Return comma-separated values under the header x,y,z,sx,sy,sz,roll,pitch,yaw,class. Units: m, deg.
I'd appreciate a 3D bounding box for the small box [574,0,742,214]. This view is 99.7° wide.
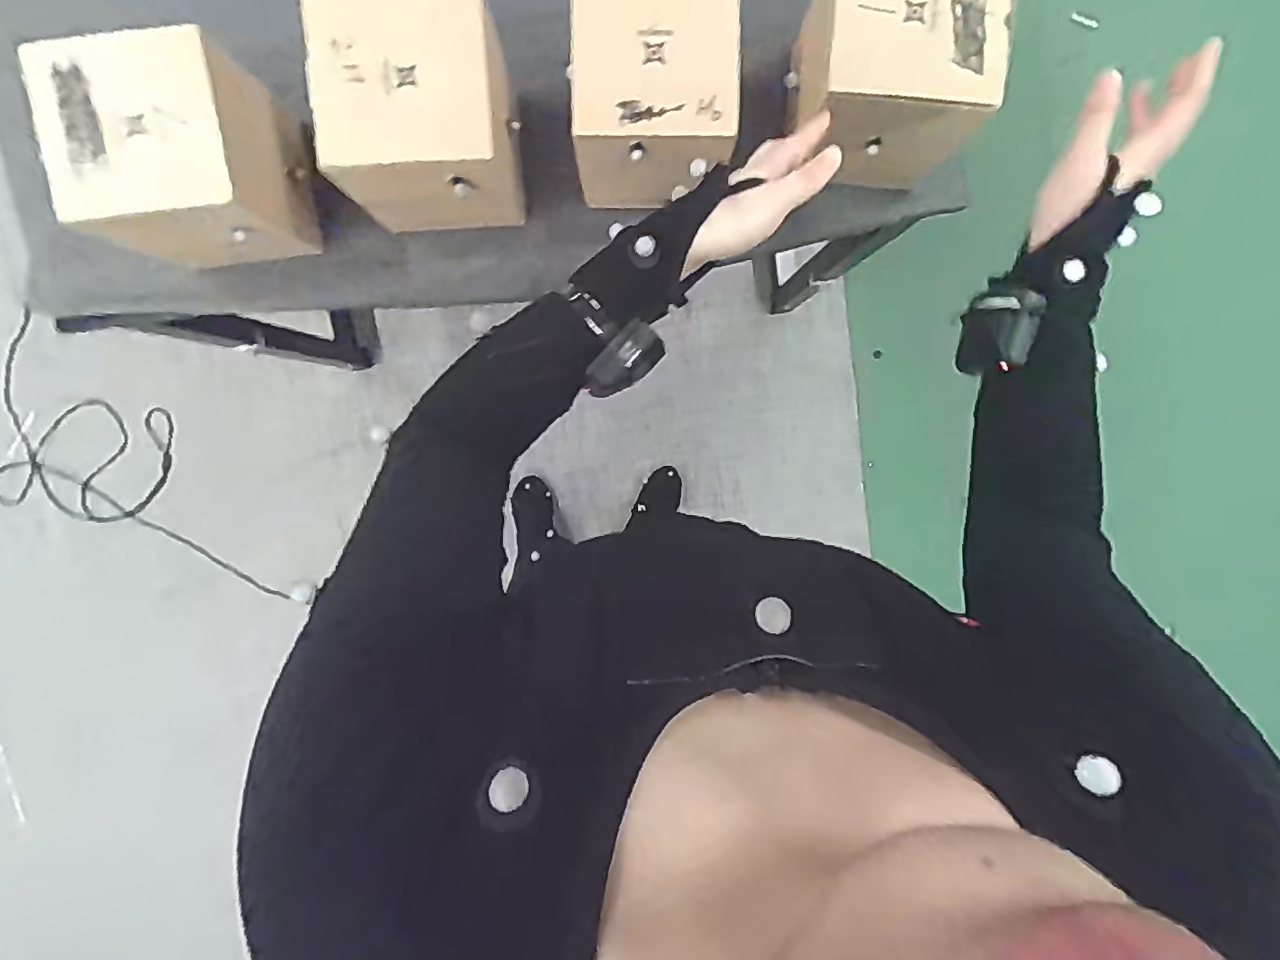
x,y,z,sx,sy,sz,roll,pitch,yaw,class
0.017,-0.428,0.611,0.168,0.176,0.179,1,93,0,small box

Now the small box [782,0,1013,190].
x,y,z,sx,sy,sz,roll,pitch,yaw,class
0.275,-0.451,0.608,0.179,0.176,0.168,5,92,0,small box

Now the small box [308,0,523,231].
x,y,z,sx,sy,sz,roll,pitch,yaw,class
-0.234,-0.397,0.611,0.179,0.176,0.168,-3,94,0,small box
